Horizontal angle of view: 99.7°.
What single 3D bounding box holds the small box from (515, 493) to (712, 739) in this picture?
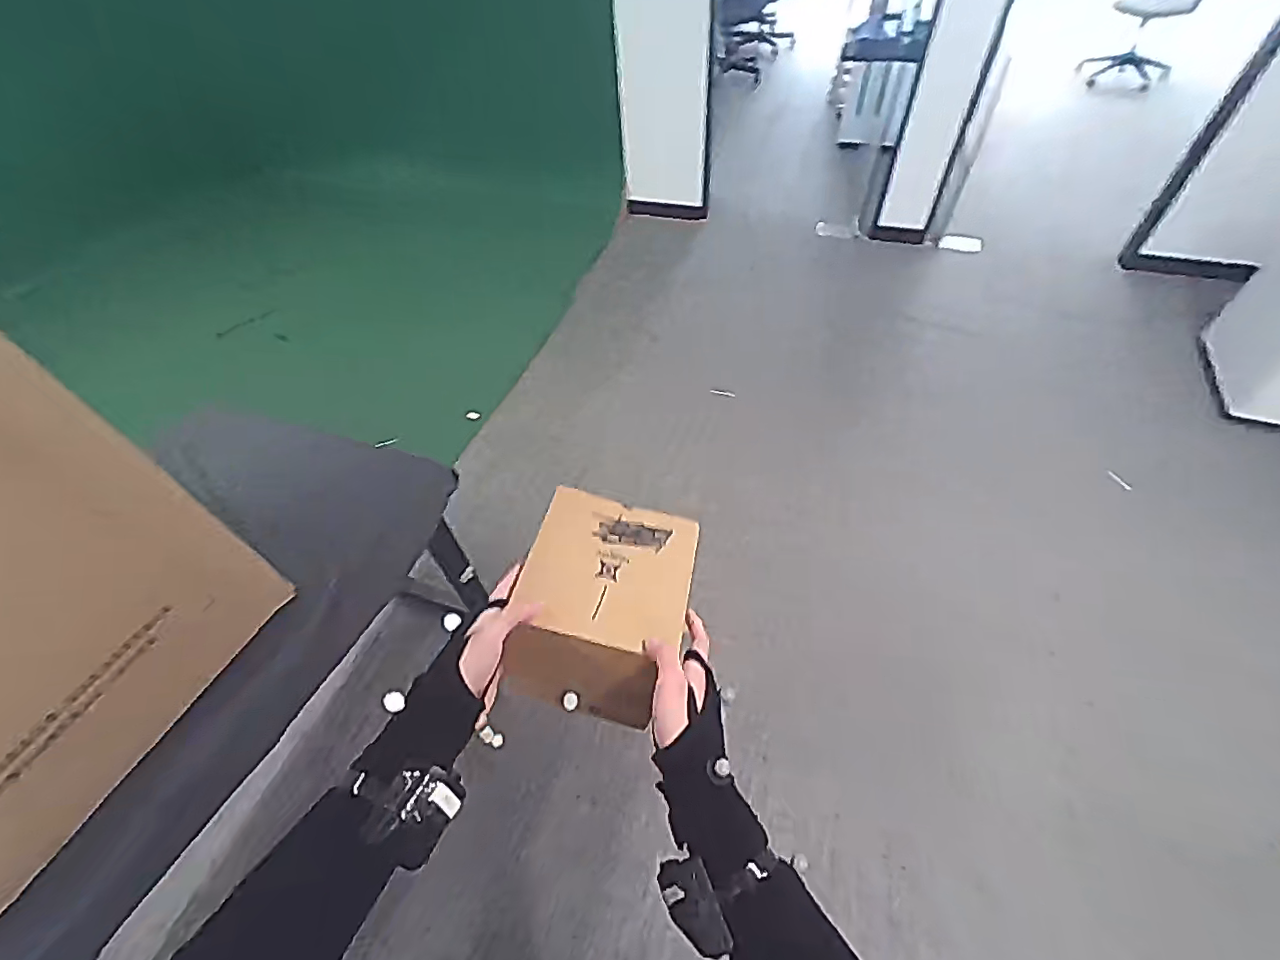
[{"bbox_3d":[-0.033,0.151,0.601,0.168,0.176,0.179,18,44,3],"label":"small box"}]
